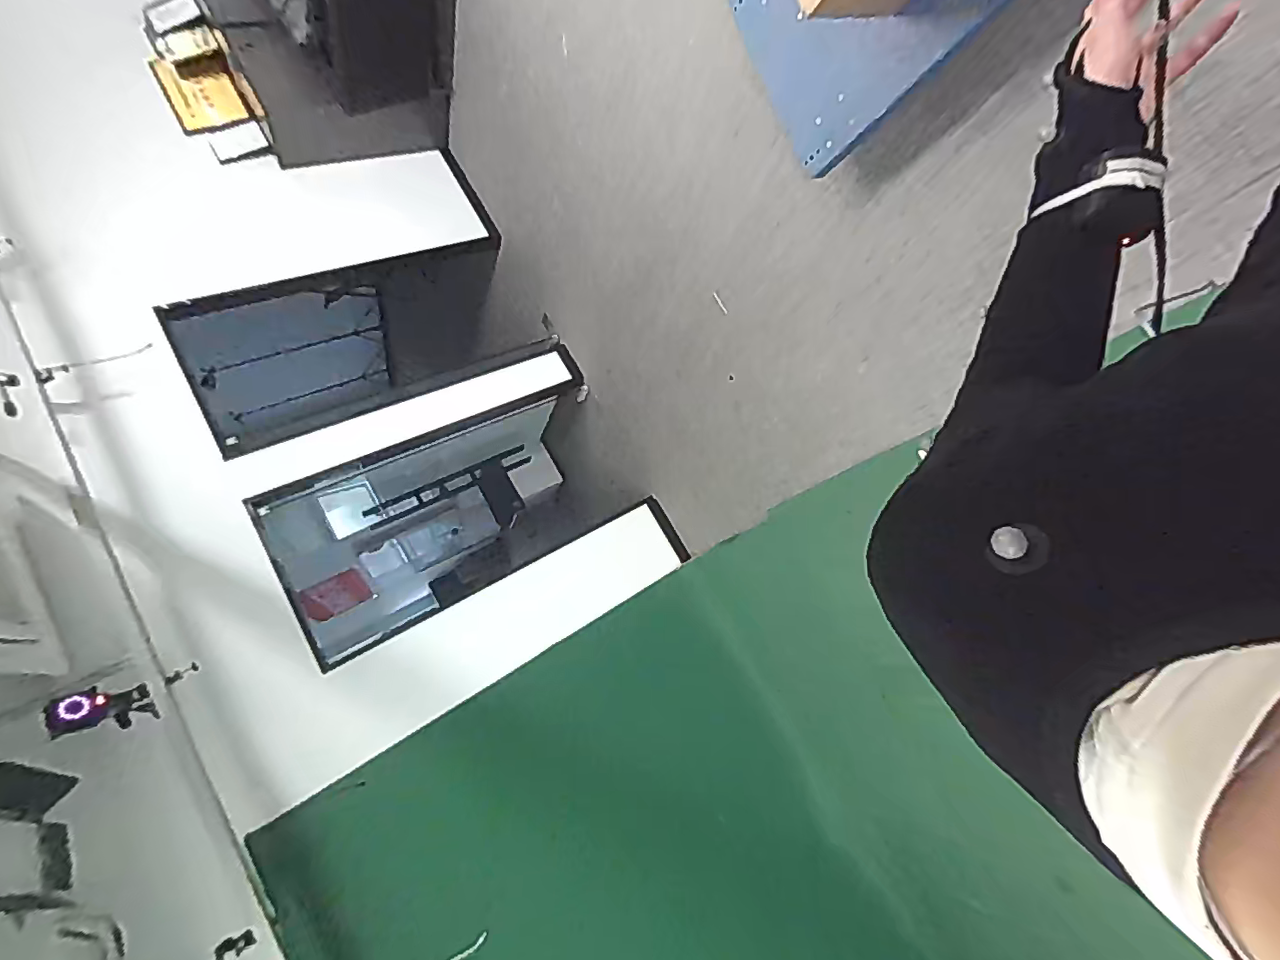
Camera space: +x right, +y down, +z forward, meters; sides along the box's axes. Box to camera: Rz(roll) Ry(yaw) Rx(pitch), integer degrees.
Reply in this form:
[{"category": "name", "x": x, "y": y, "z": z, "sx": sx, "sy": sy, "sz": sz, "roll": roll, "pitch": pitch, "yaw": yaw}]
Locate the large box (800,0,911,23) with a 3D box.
[{"category": "large box", "x": 0.483, "y": -1.160, "z": 0.983, "sx": 0.320, "sy": 0.320, "sz": 0.408, "roll": 65, "pitch": 154, "yaw": -3}]
